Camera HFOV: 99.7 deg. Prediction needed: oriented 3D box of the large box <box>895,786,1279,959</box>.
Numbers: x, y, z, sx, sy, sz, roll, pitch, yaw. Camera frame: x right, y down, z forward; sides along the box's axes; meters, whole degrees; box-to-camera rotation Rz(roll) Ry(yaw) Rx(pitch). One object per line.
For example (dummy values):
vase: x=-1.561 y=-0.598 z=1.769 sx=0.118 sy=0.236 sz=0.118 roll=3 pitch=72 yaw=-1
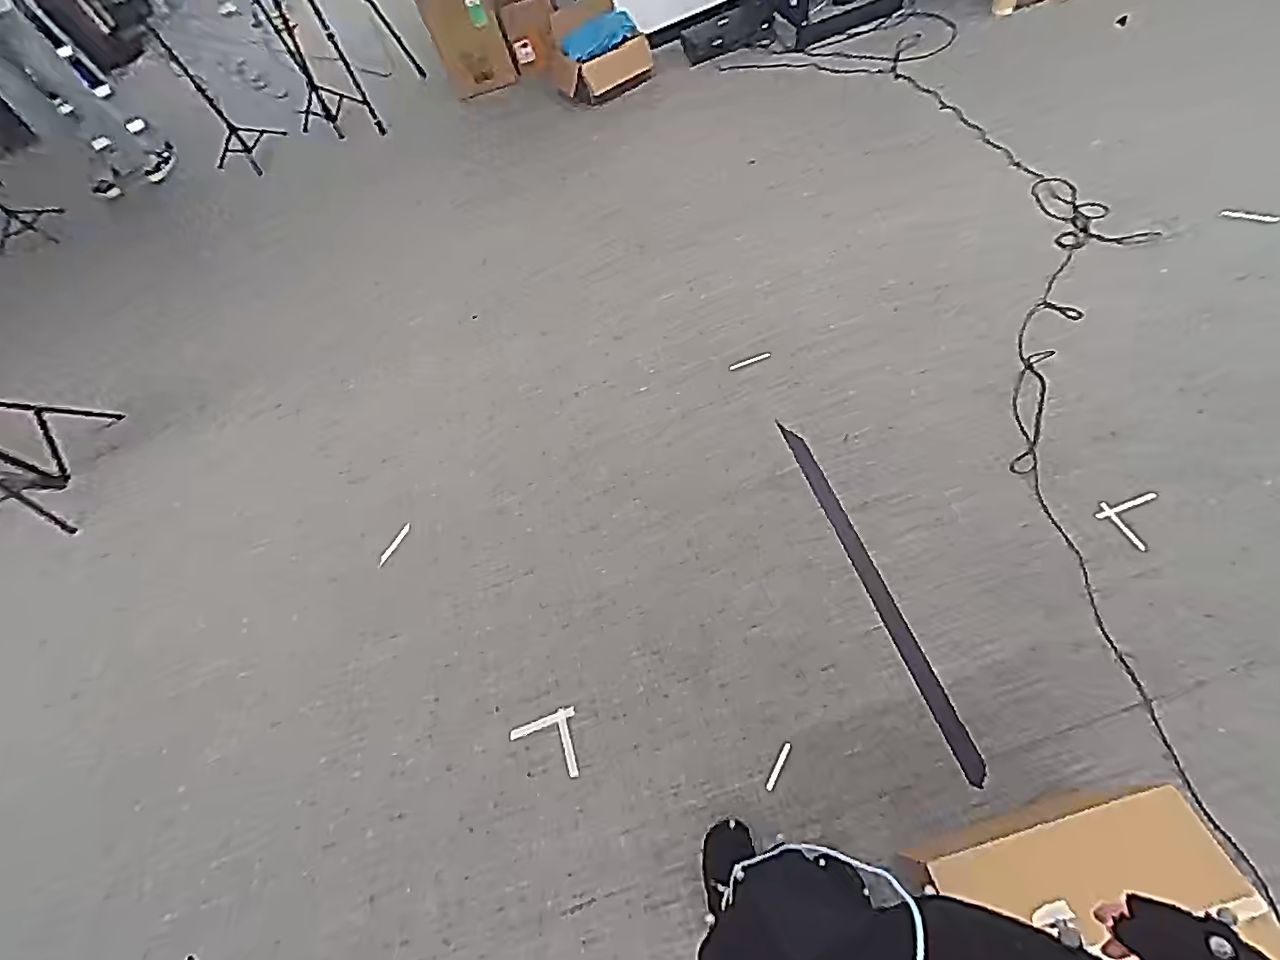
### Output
large box: x=0.704 y=0.738 z=0.887 sx=0.408 sy=0.320 sz=0.320 roll=-21 pitch=55 yaw=3
